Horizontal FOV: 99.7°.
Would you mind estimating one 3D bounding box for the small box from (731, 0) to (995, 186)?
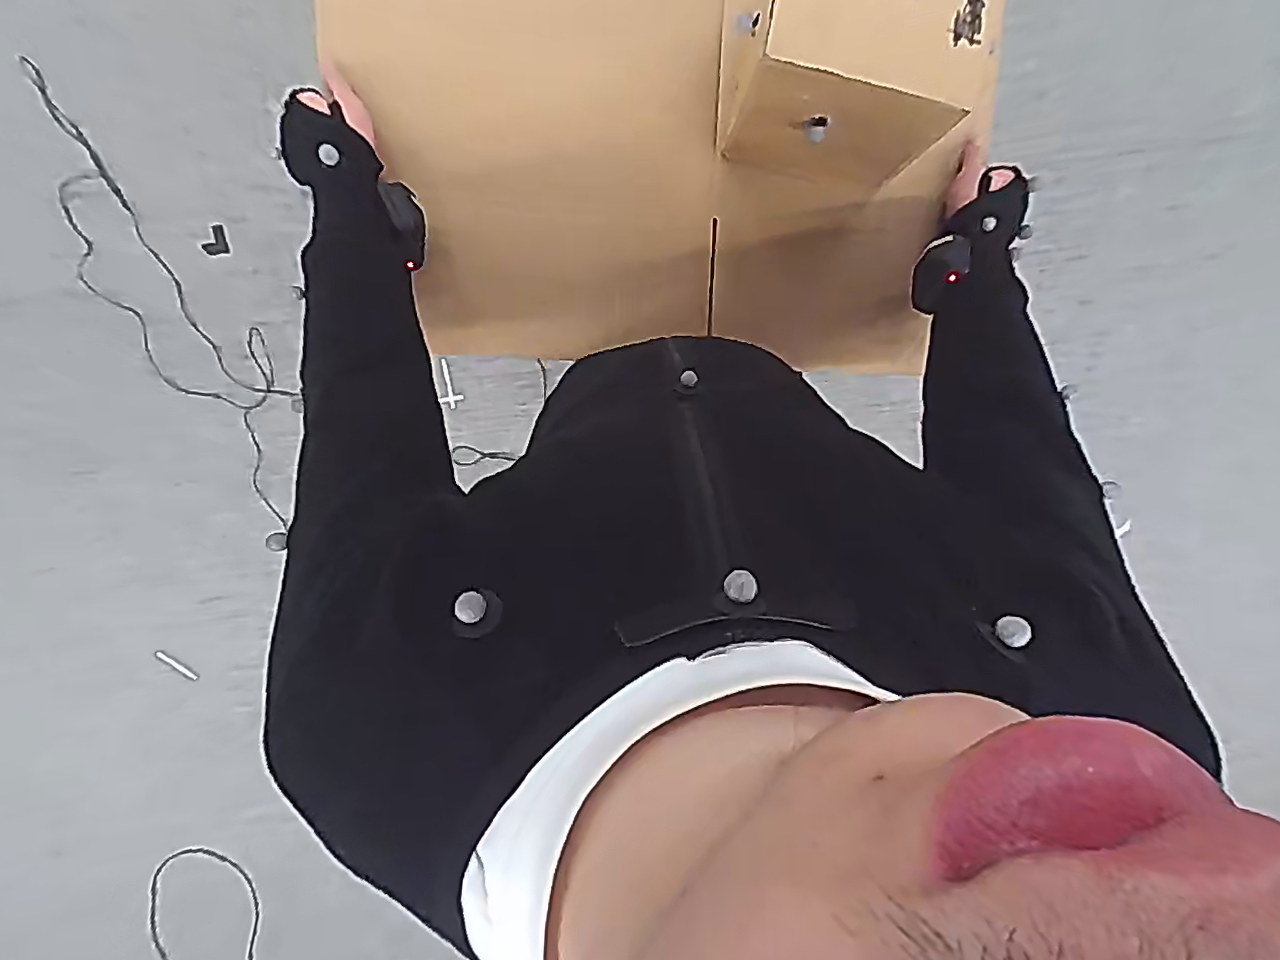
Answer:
[{"bbox_3d":[0.193,-0.402,0.501,0.179,0.176,0.168,12,97,-2],"label":"small box"}]
